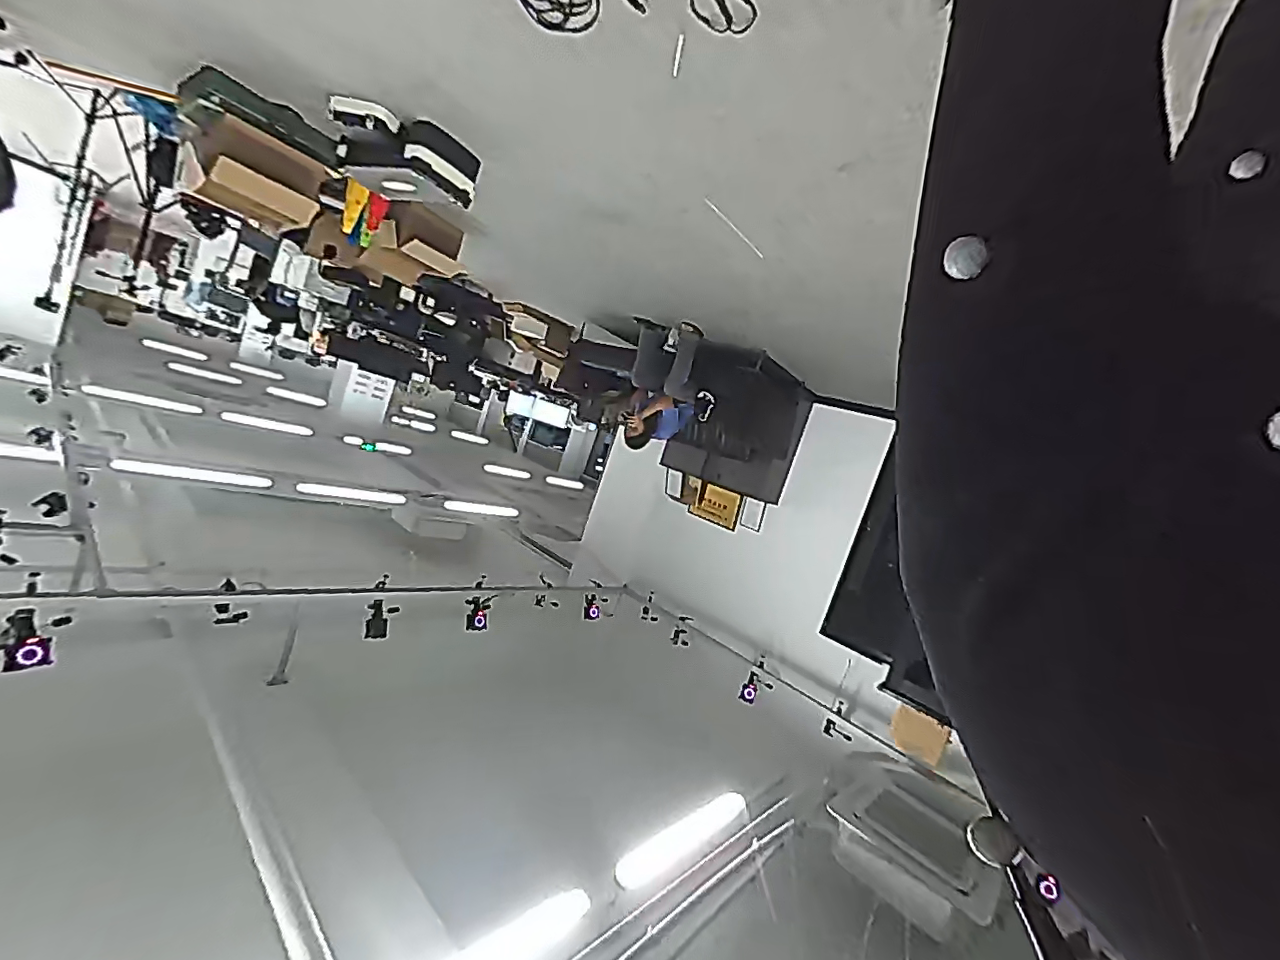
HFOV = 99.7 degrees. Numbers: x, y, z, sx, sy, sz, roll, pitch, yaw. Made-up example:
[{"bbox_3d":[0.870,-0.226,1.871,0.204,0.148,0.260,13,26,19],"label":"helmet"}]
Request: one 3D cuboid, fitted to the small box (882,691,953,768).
[{"bbox_3d":[0.975,0.864,1.895,0.168,0.176,0.179,22,-174,36],"label":"small box"}]
